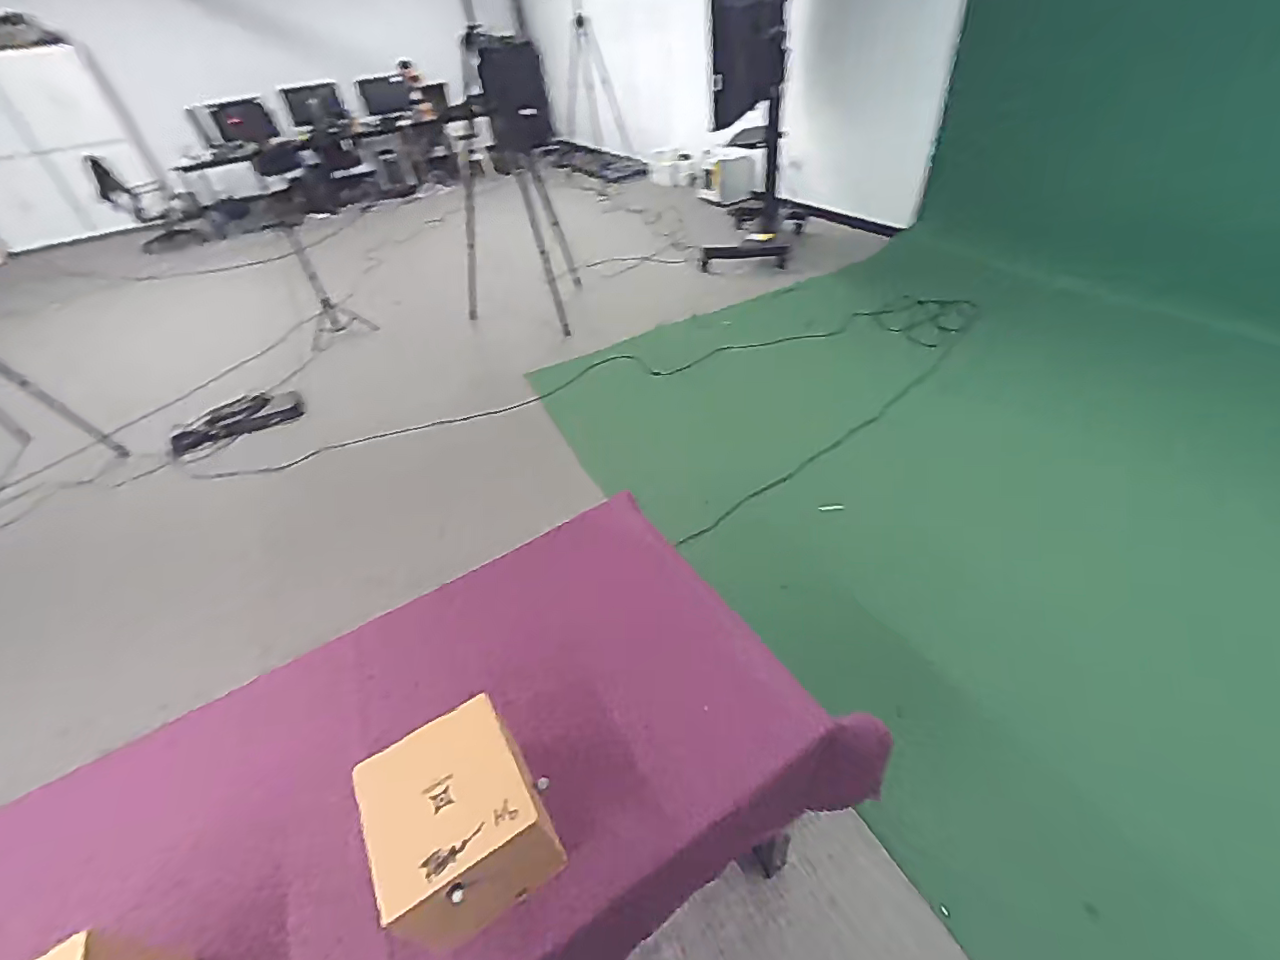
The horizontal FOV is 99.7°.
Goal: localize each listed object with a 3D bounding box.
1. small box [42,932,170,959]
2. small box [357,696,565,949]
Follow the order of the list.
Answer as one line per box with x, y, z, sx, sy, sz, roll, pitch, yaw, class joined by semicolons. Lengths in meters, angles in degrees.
-0.563;0.588;0.509;0.168;0.176;0.179;-26;45;-19;small box
-0.211;0.409;0.653;0.168;0.176;0.179;-27;44;-19;small box
